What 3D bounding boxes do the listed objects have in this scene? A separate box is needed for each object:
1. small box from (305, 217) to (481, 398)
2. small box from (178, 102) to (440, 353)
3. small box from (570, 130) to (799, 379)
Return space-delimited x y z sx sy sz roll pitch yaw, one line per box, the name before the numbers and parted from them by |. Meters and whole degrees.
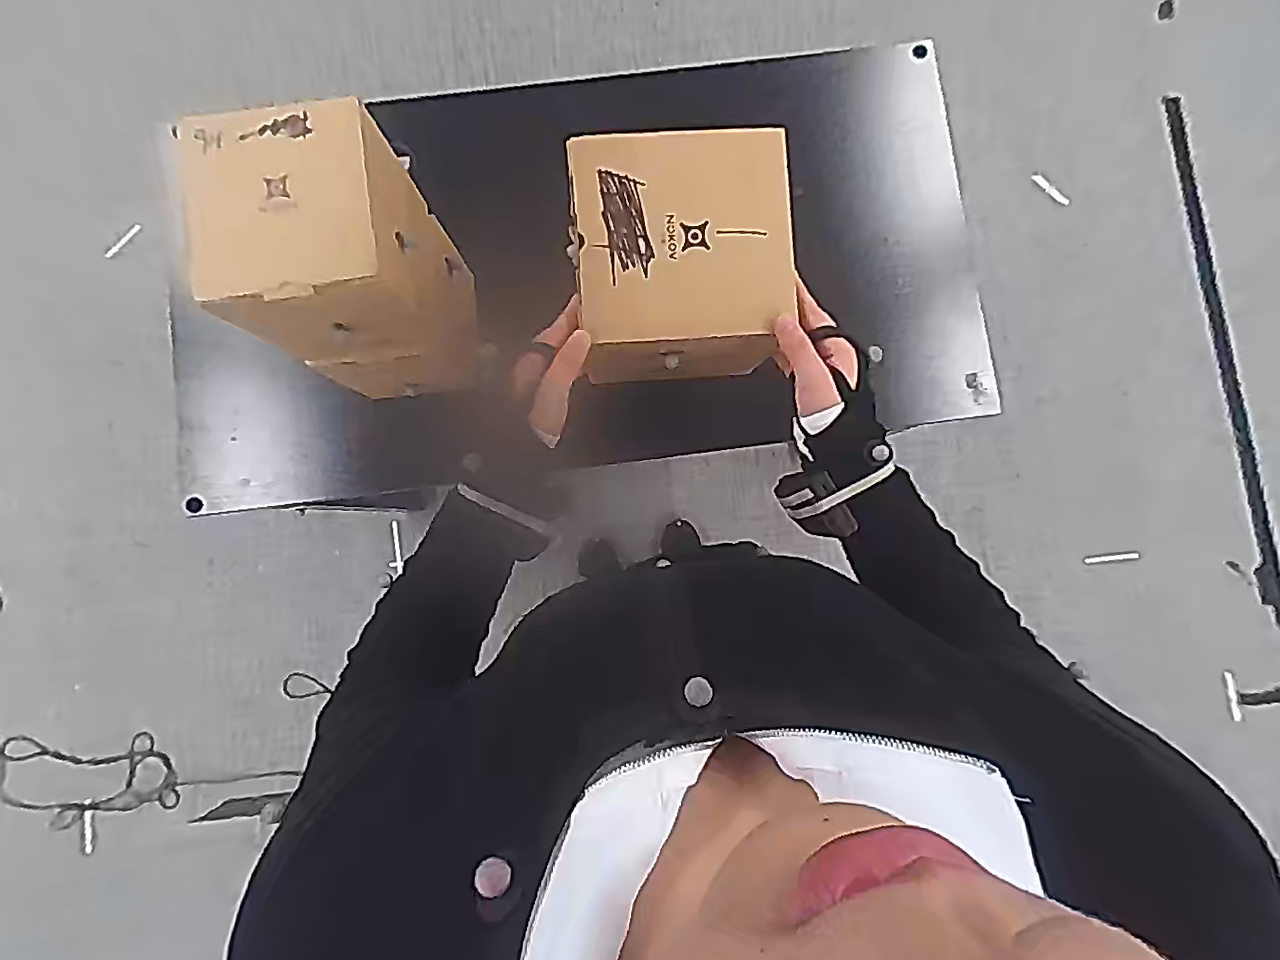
small box | -0.321 -0.220 0.725 0.168 0.176 0.179 -6 86 -1
small box | -0.322 -0.241 0.562 0.168 0.176 0.179 -9 86 -2
small box | 0.033 -0.193 0.508 0.179 0.176 0.168 -4 90 -3
